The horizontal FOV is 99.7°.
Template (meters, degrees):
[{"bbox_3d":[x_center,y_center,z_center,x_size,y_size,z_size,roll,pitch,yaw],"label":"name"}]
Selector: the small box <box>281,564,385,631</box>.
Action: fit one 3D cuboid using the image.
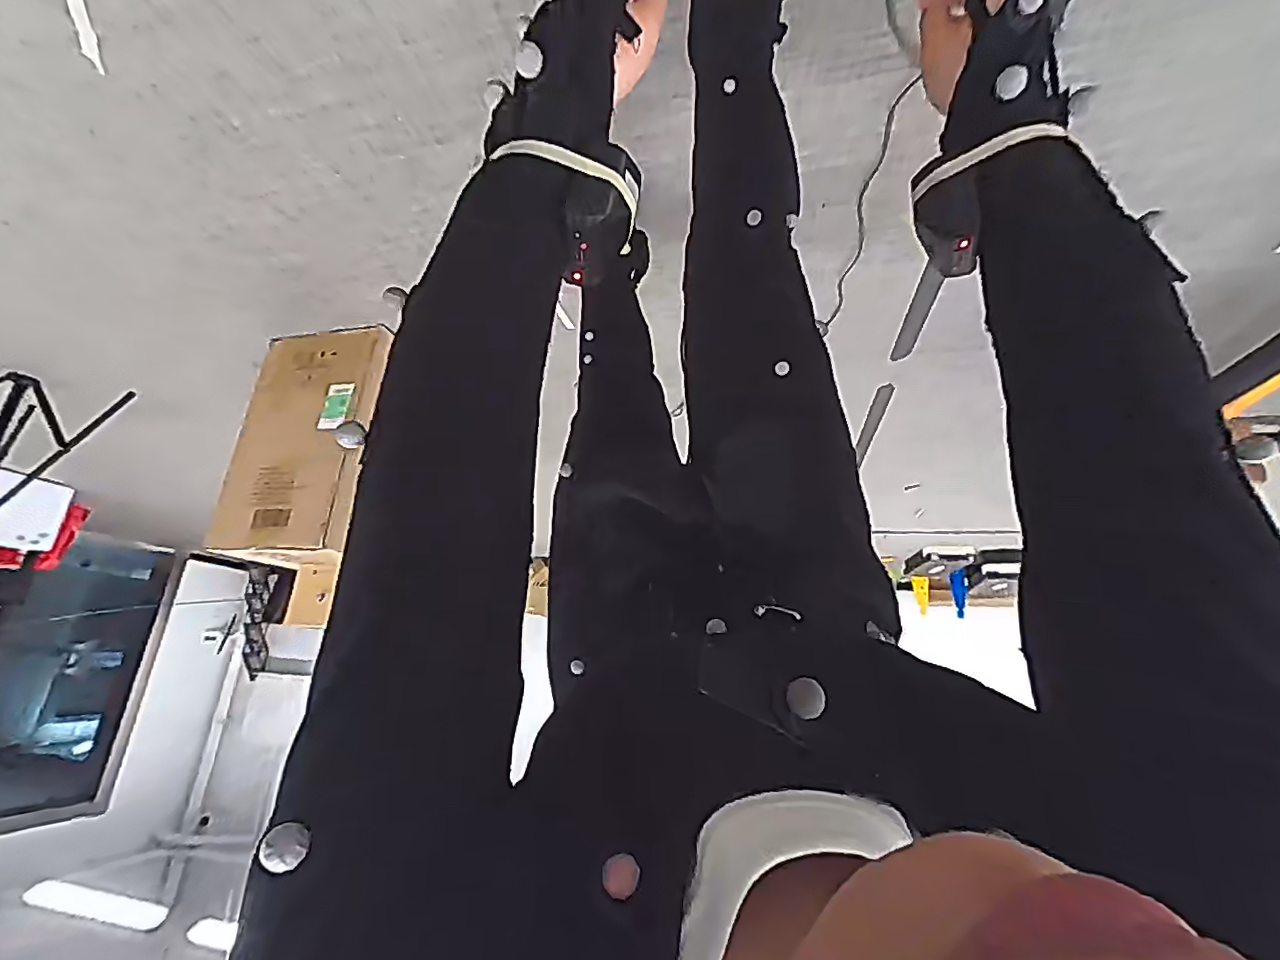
[{"bbox_3d":[-0.851,0.330,1.512,0.168,0.176,0.179,-2,161,15],"label":"small box"}]
